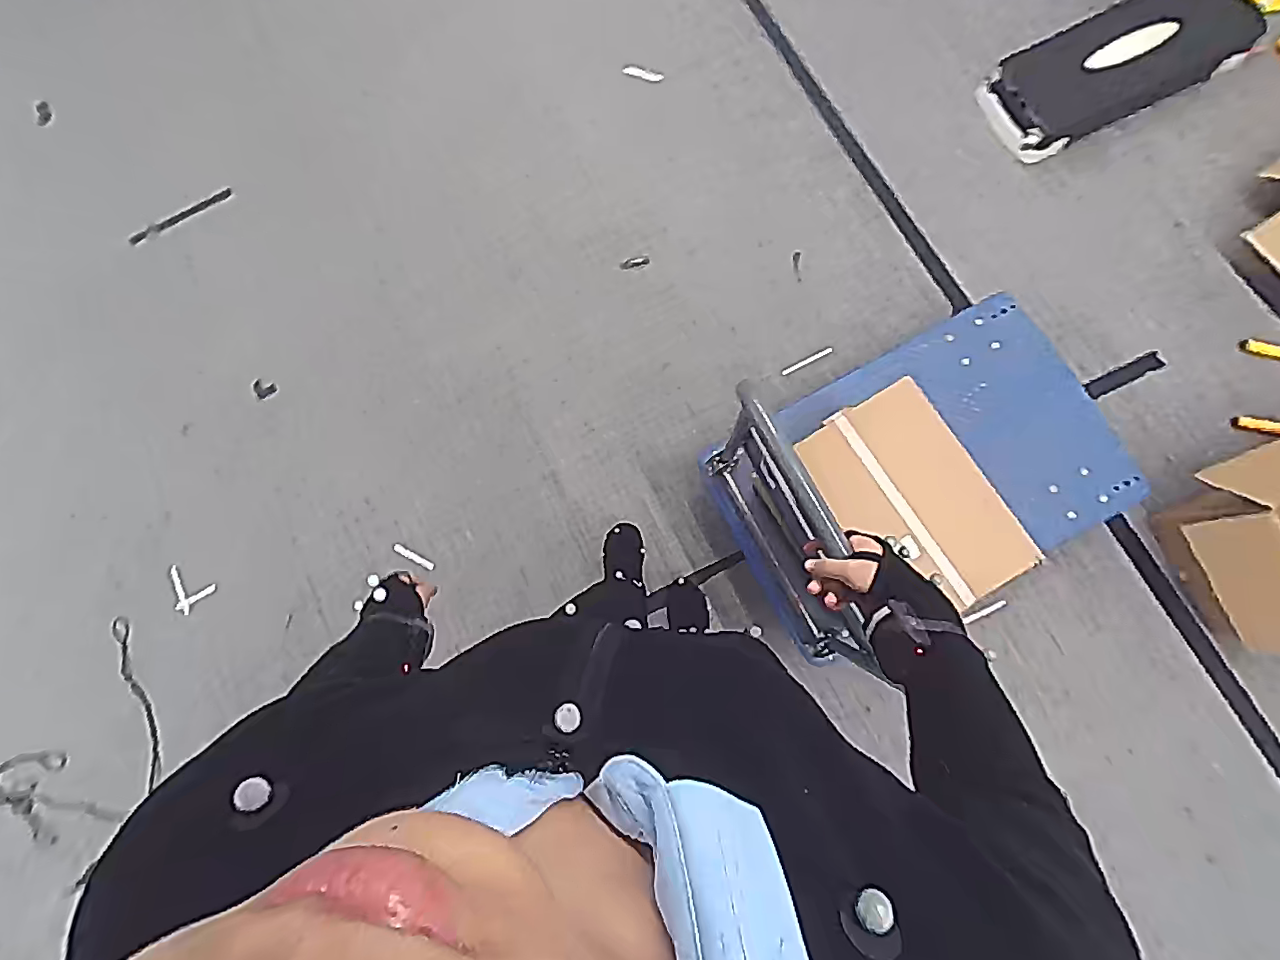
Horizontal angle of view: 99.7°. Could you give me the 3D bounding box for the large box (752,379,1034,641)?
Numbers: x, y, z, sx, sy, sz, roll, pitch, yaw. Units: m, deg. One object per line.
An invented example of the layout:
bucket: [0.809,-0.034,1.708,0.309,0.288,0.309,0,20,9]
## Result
large box: [0.490,0.066,1.148,0.320,0.320,0.408,-32,81,1]
